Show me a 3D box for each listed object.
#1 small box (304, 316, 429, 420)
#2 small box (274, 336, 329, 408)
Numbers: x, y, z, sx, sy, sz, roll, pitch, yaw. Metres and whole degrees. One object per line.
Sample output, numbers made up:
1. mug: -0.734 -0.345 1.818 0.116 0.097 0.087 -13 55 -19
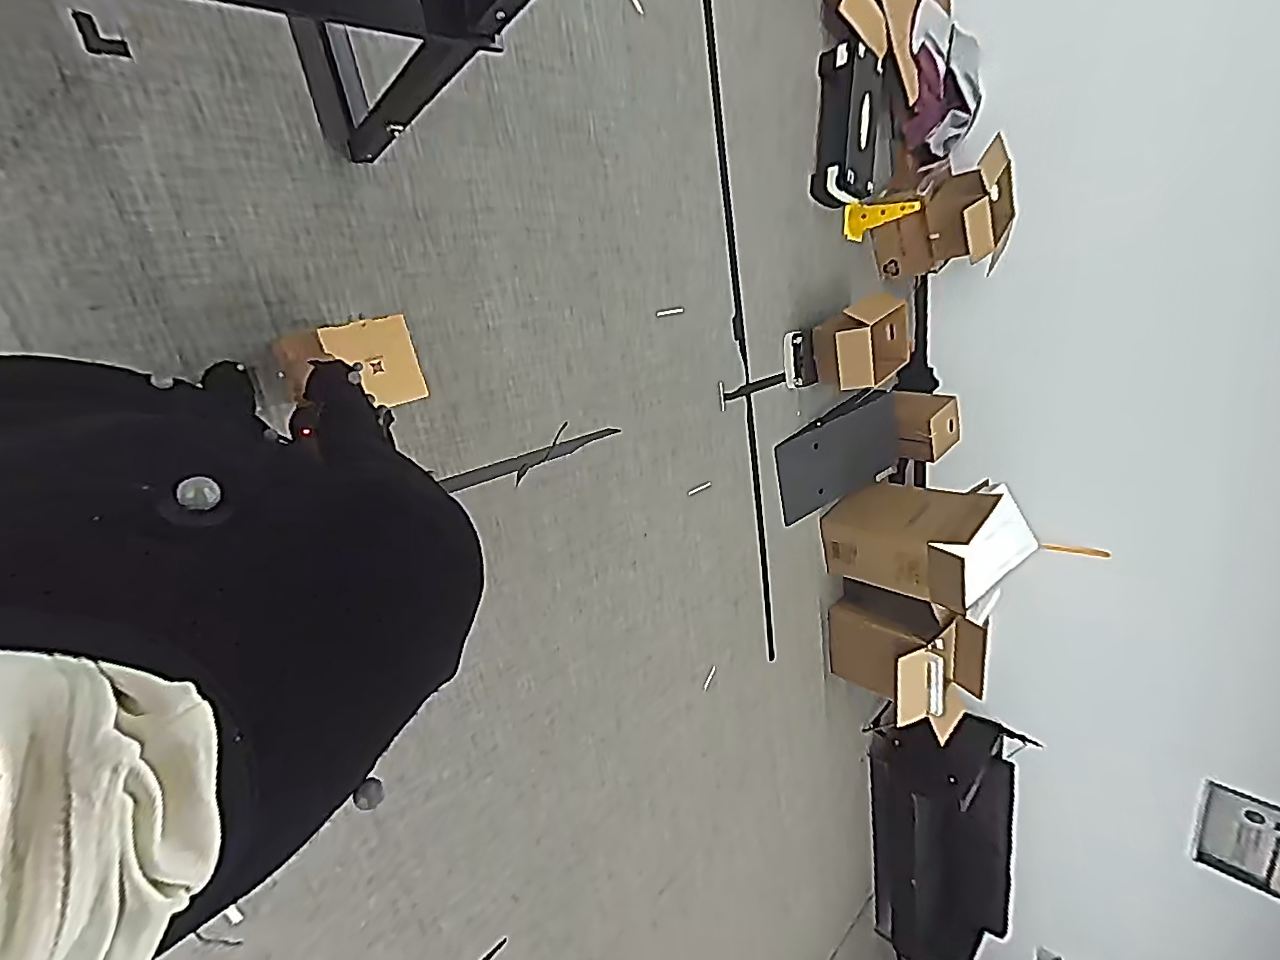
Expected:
1. small box: -0.574 -0.237 1.135 0.168 0.176 0.179 -27 115 -35
2. small box: -0.793 -0.287 1.372 0.179 0.176 0.168 -25 114 -36
